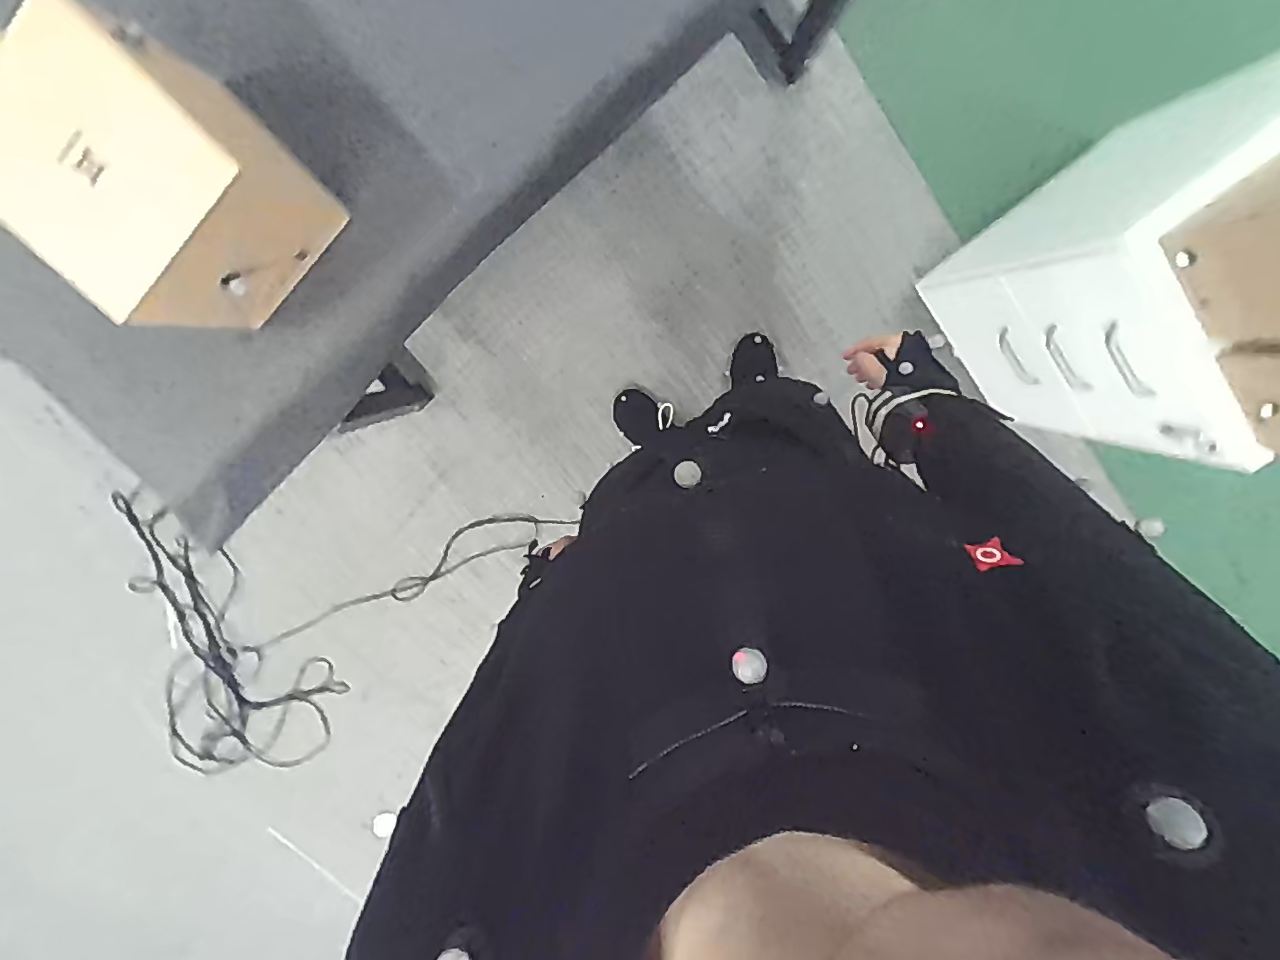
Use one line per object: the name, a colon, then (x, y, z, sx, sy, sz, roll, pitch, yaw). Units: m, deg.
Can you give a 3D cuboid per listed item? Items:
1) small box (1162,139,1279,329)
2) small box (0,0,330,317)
small box: (0.763, -0.288, 0.617, 0.179, 0.176, 0.168, -38, 103, 7)
small box: (-0.424, -0.264, 0.475, 0.168, 0.176, 0.179, -43, 100, 10)
